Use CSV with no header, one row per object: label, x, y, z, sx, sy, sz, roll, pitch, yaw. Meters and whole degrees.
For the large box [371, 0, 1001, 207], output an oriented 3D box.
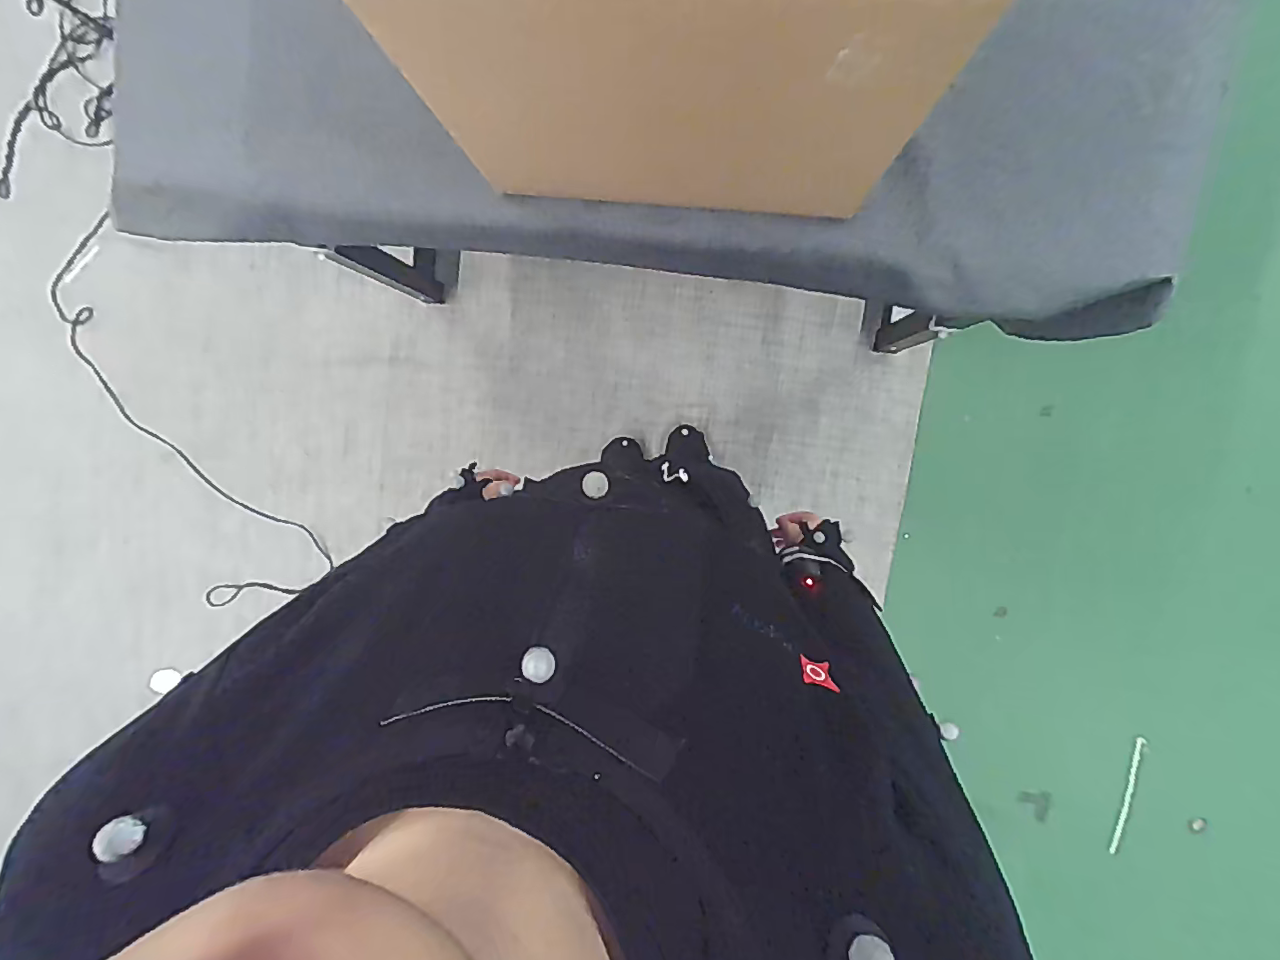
large box,0.036,-0.453,0.447,0.408,0.320,0.320,5,96,3
